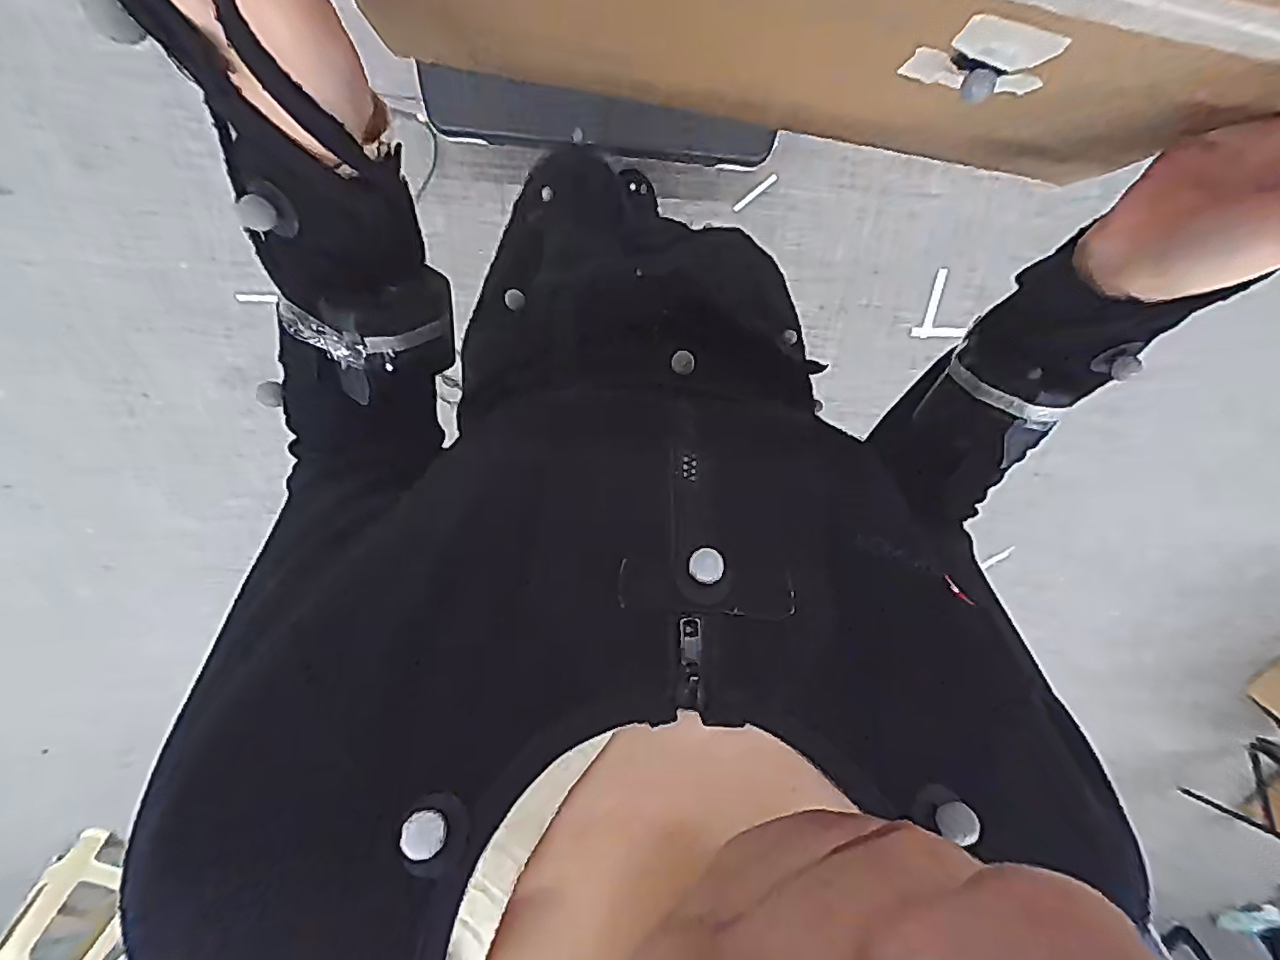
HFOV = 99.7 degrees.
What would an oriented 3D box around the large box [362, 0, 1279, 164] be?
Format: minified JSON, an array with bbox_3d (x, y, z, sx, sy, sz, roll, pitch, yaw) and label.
[{"bbox_3d":[0.092,-0.324,0.135,0.408,0.320,0.320,5,105,-6],"label":"large box"}]
